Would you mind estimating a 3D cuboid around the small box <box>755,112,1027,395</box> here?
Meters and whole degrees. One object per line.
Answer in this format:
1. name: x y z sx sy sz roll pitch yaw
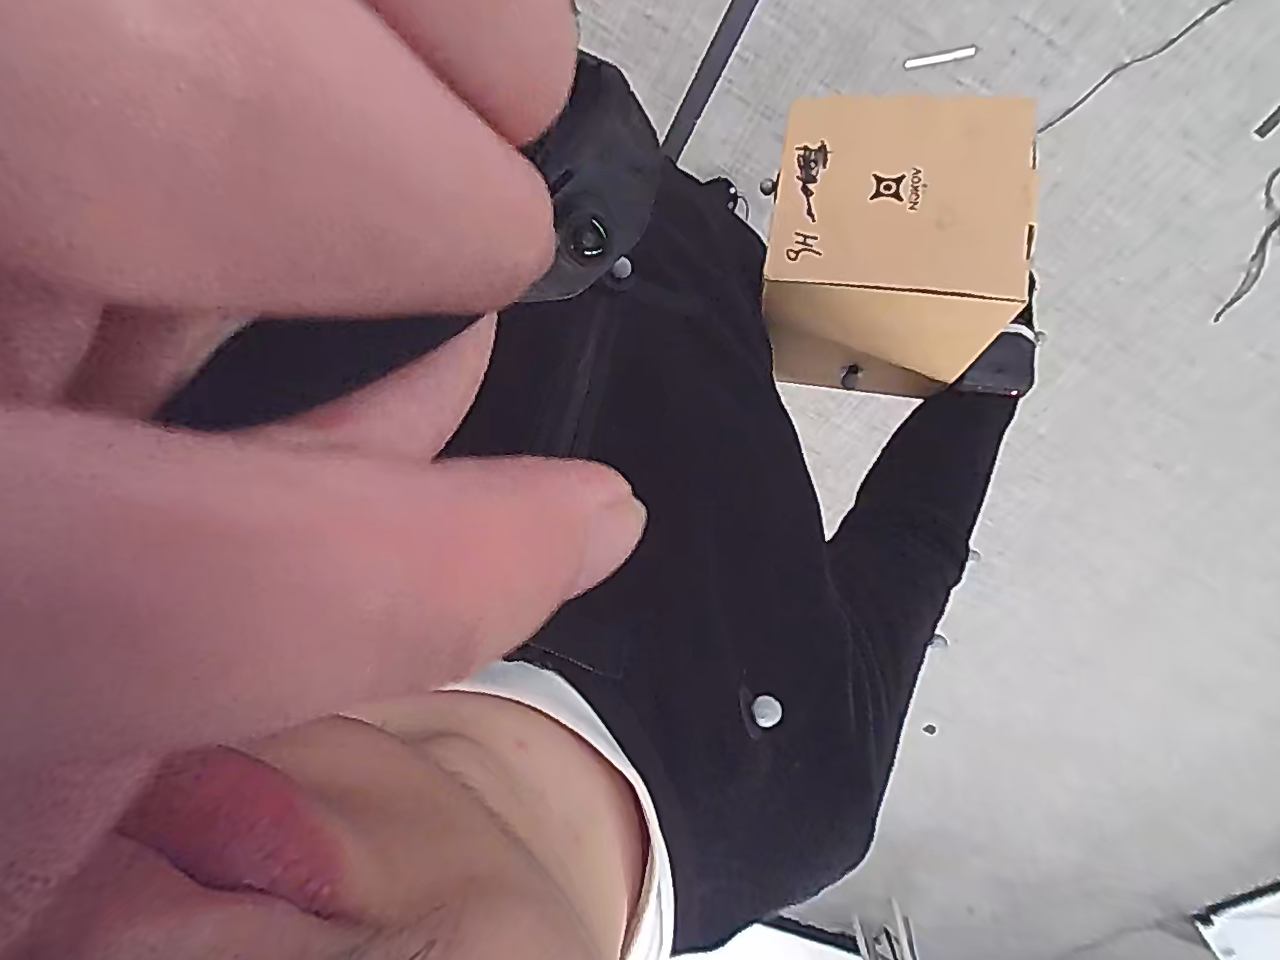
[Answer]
1. small box: 0.207 -0.189 0.488 0.179 0.168 0.176 9 166 11
